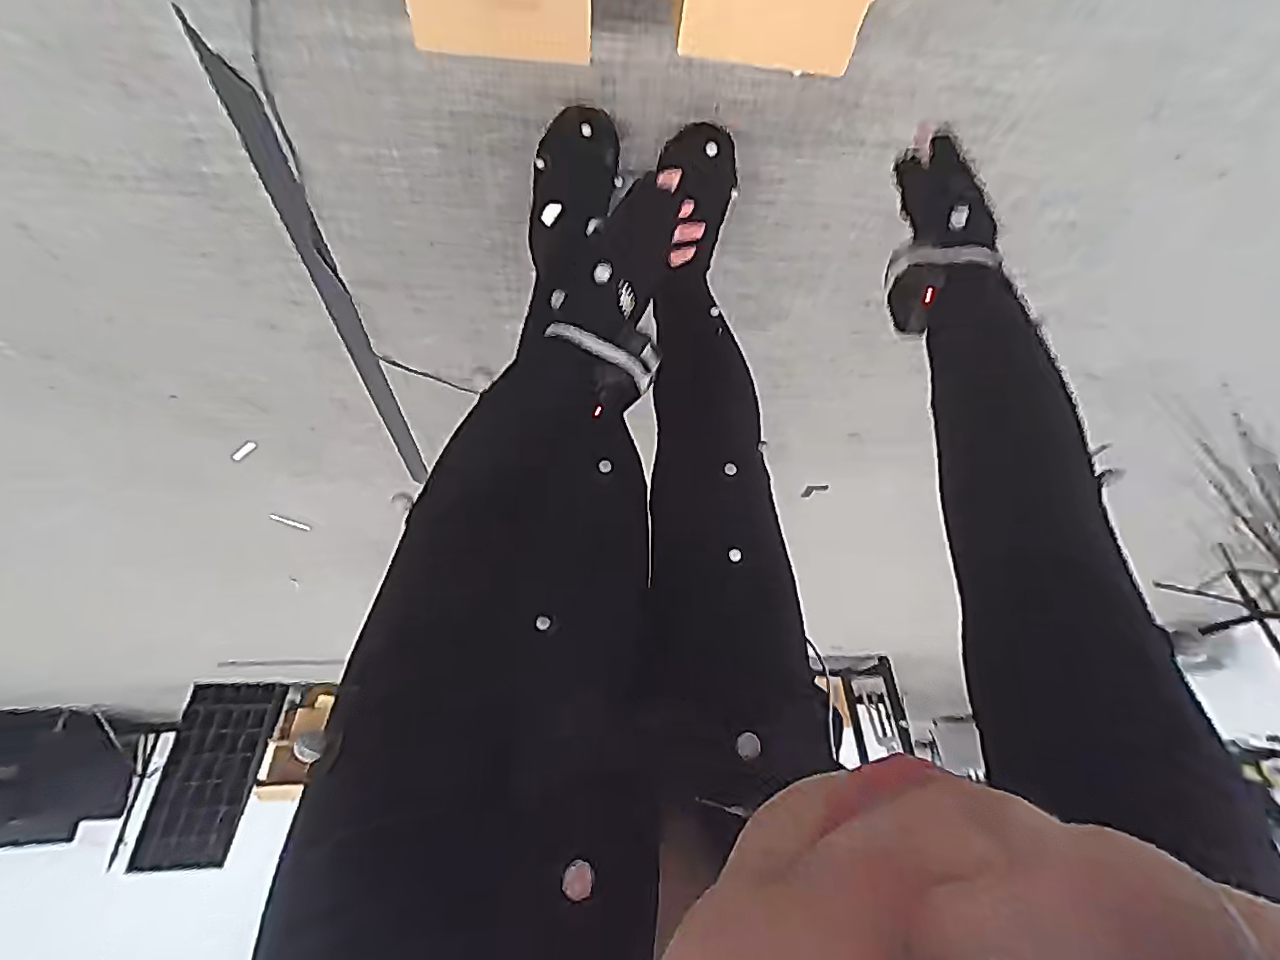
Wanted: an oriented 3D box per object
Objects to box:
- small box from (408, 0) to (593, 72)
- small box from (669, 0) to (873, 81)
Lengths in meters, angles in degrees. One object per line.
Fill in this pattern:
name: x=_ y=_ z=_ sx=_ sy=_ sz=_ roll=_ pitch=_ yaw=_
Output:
small box: x=-0.124 y=-0.516 z=0.492 sx=0.168 sy=0.176 sz=0.179 roll=1 pitch=149 yaw=-5
small box: x=0.126 y=-0.519 z=0.513 sx=0.179 sy=0.176 sz=0.168 roll=1 pitch=148 yaw=-8
